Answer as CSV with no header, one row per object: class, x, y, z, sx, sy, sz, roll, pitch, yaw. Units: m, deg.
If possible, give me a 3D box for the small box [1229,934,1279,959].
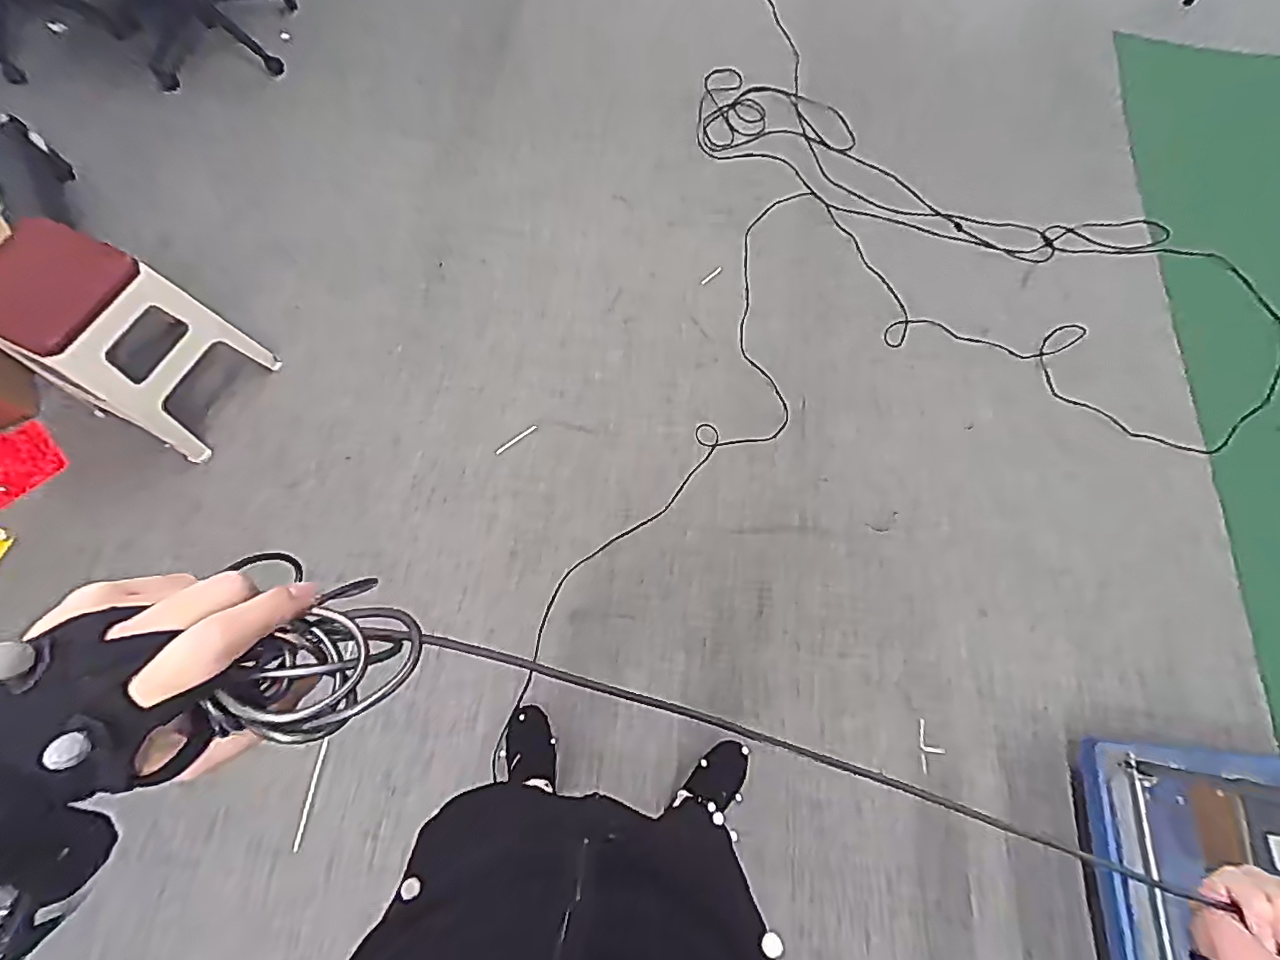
small box,1.337,1.030,1.056,0.179,0.176,0.168,7,70,1
